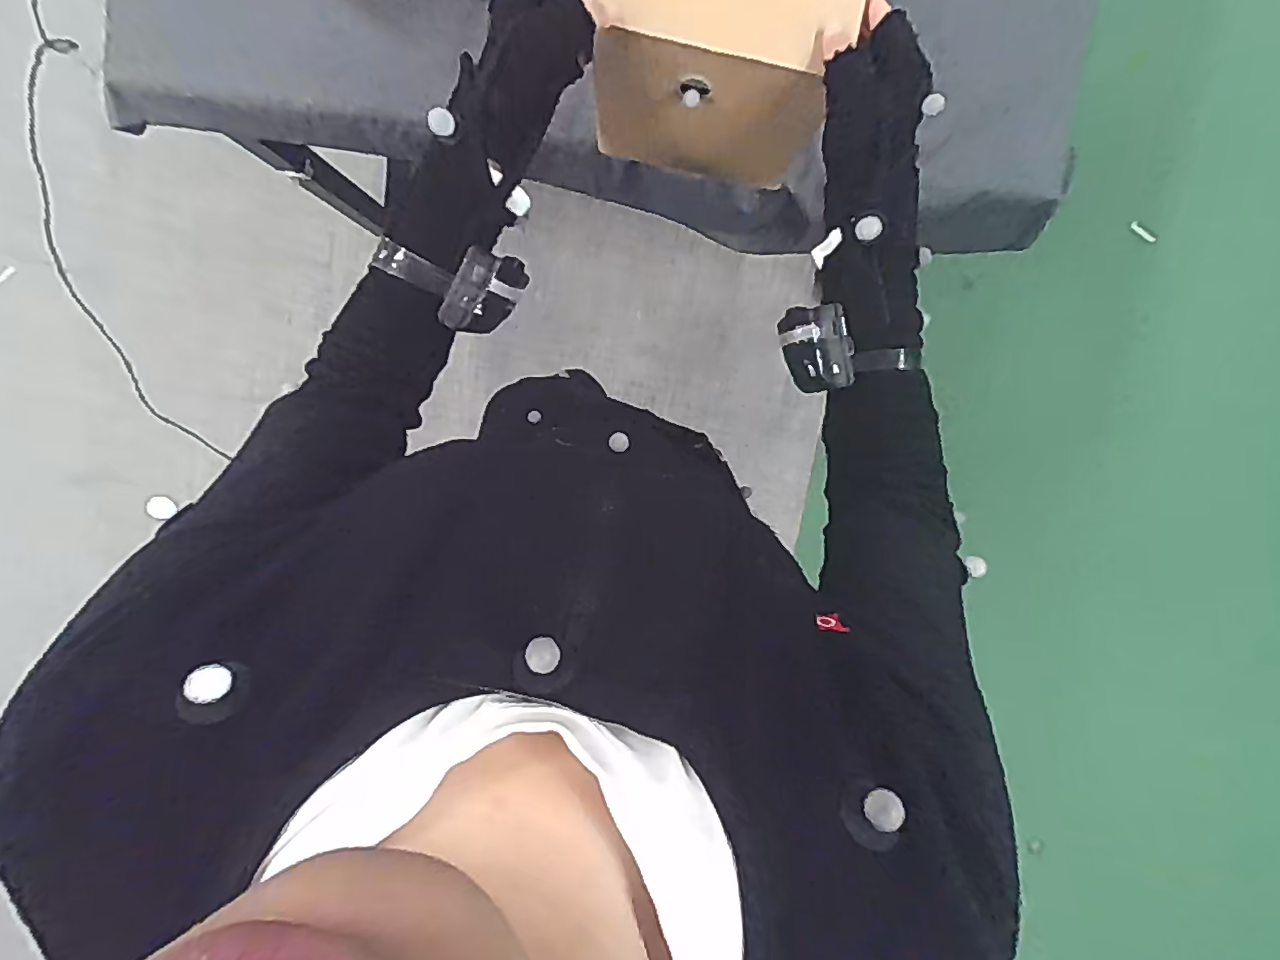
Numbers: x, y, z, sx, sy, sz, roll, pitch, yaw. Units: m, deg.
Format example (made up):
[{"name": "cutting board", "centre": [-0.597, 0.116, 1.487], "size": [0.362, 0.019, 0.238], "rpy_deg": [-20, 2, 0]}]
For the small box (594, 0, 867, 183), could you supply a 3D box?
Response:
[{"name": "small box", "centre": [0.067, -0.365, 0.427], "size": [0.179, 0.176, 0.168], "rpy_deg": [11, 95, -4]}]
